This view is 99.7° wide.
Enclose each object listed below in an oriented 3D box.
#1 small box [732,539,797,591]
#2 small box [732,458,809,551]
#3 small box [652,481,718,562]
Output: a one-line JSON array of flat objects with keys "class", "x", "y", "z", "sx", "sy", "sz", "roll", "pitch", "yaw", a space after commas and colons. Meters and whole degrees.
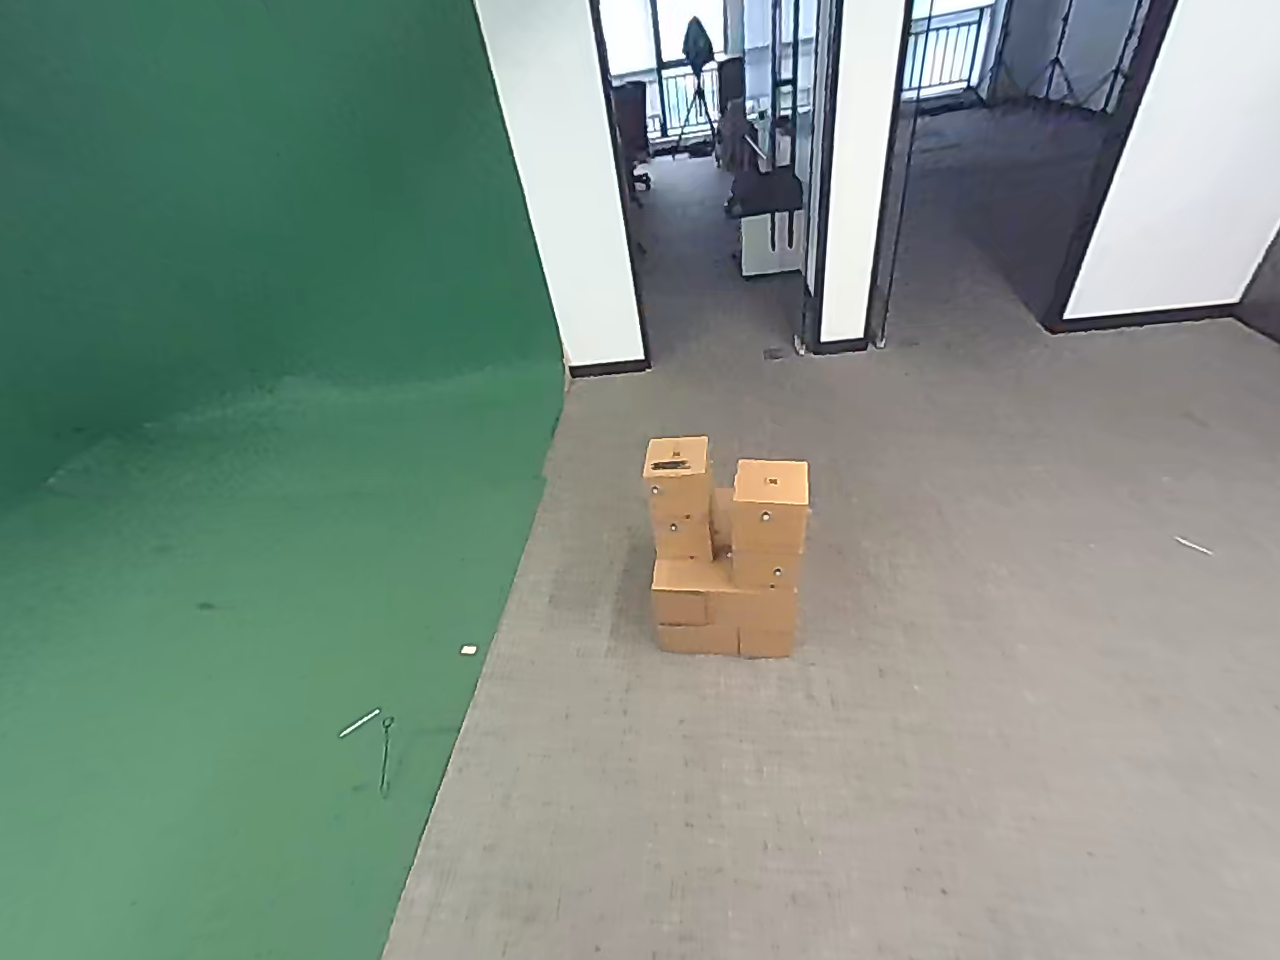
[{"class": "small box", "x": 0.343, "y": 0.184, "z": 1.481, "sx": 0.168, "sy": 0.176, "sz": 0.179, "roll": 2, "pitch": 39, "yaw": 13}, {"class": "small box", "x": 0.330, "y": 0.063, "z": 1.372, "sx": 0.179, "sy": 0.176, "sz": 0.168, "roll": 2, "pitch": 40, "yaw": 14}, {"class": "small box", "x": 0.140, "y": 0.120, "z": 1.609, "sx": 0.168, "sy": 0.176, "sz": 0.179, "roll": 0, "pitch": 38, "yaw": 15}]
